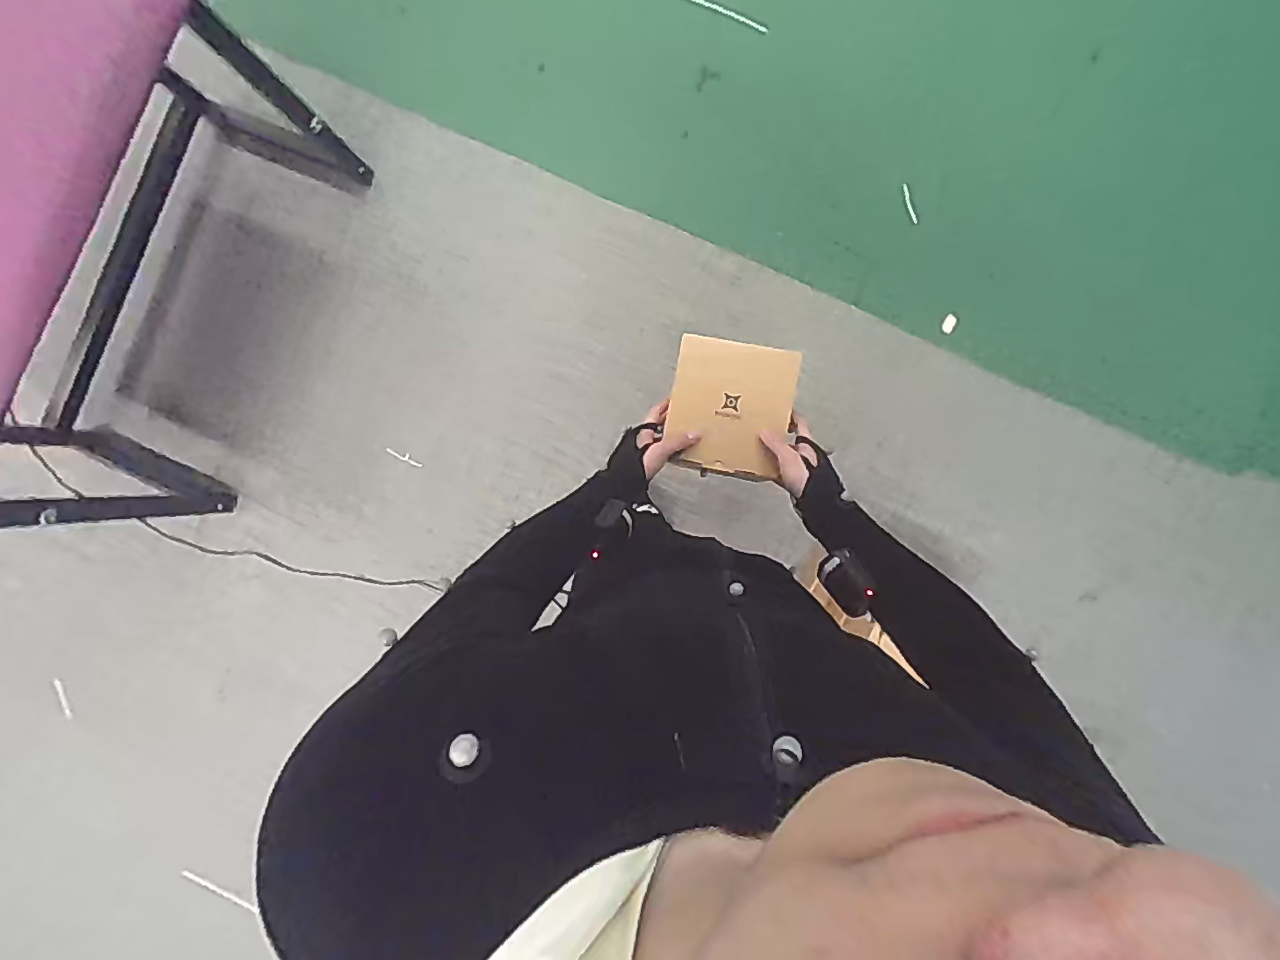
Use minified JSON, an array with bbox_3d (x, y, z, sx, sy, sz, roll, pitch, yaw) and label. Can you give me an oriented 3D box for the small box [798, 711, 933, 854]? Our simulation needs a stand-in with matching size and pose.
[{"bbox_3d":[0.459,0.617,1.130,0.179,0.176,0.168,27,90,4],"label":"small box"}]
